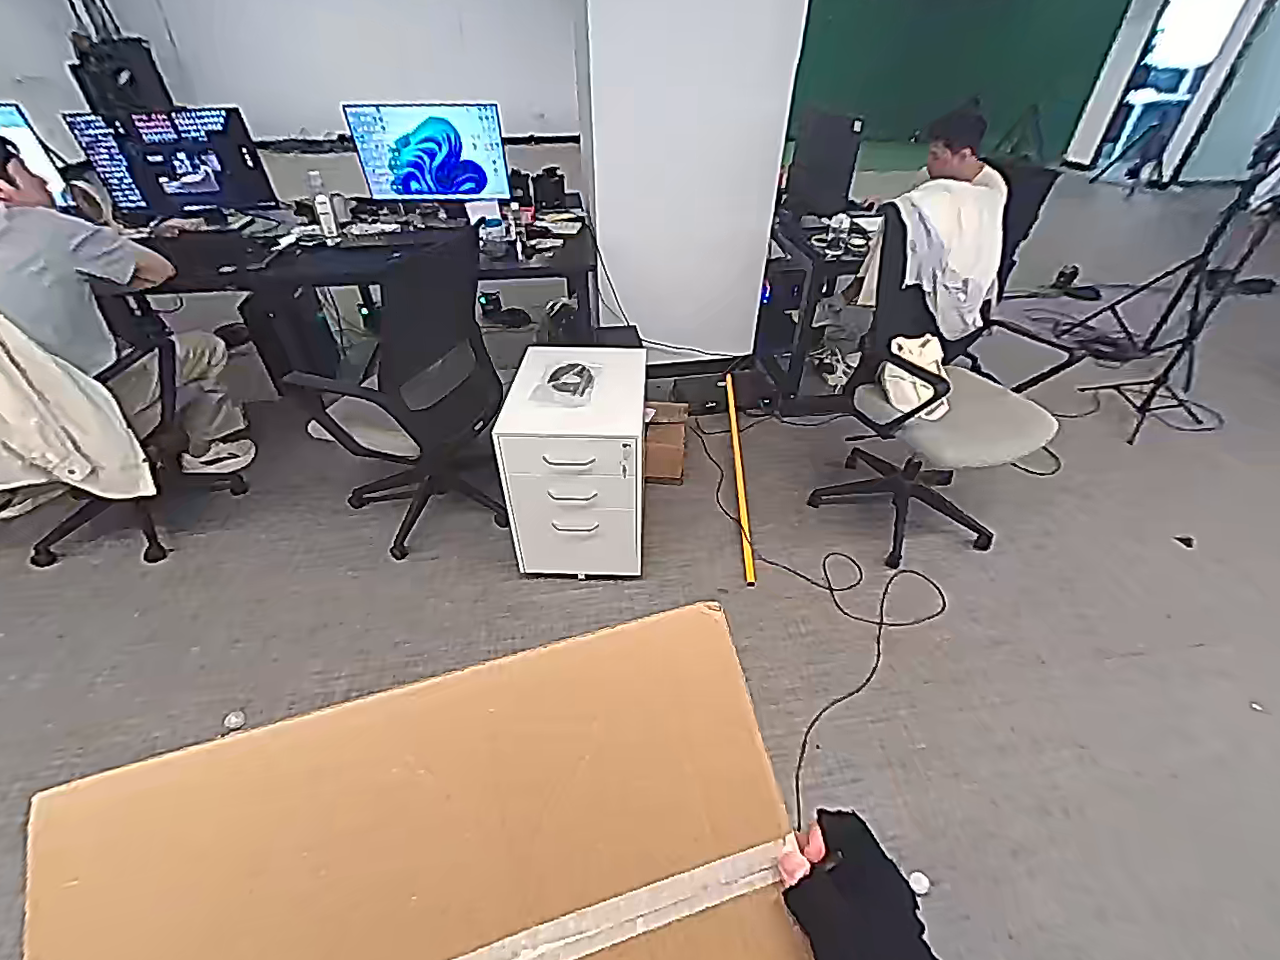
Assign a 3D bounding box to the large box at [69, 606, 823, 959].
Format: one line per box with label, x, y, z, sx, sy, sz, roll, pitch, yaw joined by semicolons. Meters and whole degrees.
large box;-0.113;0.323;0.444;0.408;0.320;0.320;-13;75;-10
